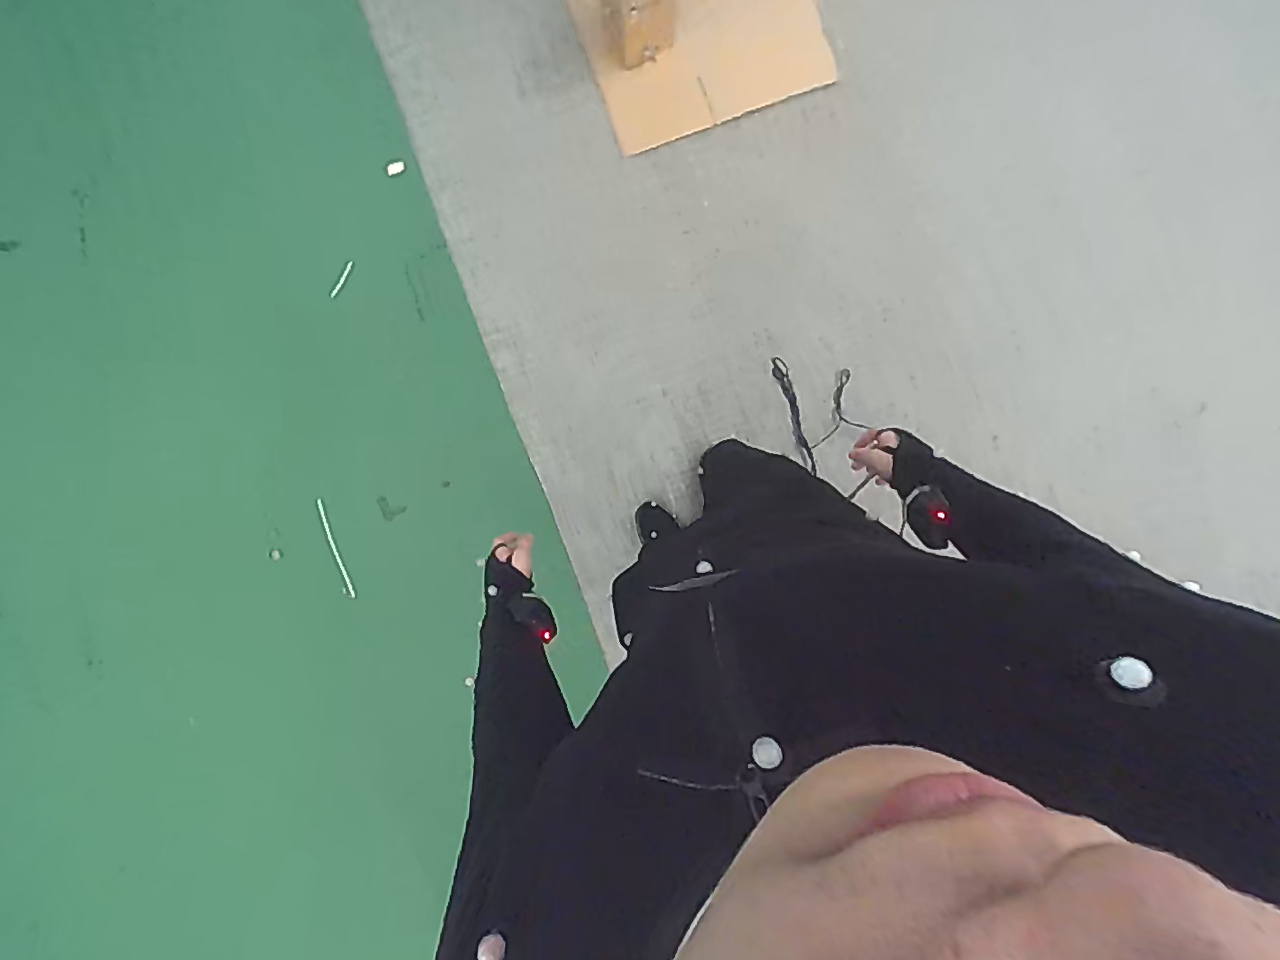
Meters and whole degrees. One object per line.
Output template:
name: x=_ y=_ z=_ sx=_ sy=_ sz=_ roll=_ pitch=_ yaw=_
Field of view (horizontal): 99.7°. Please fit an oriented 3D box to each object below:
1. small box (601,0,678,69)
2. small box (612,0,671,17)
small box: x=-0.006 y=-1.338 z=1.539 sx=0.168 sy=0.176 sz=0.179 roll=-27 pitch=90 yaw=1
small box: x=-0.009 y=-1.339 z=1.375 sx=0.168 sy=0.176 sz=0.179 roll=-24 pitch=89 yaw=1
